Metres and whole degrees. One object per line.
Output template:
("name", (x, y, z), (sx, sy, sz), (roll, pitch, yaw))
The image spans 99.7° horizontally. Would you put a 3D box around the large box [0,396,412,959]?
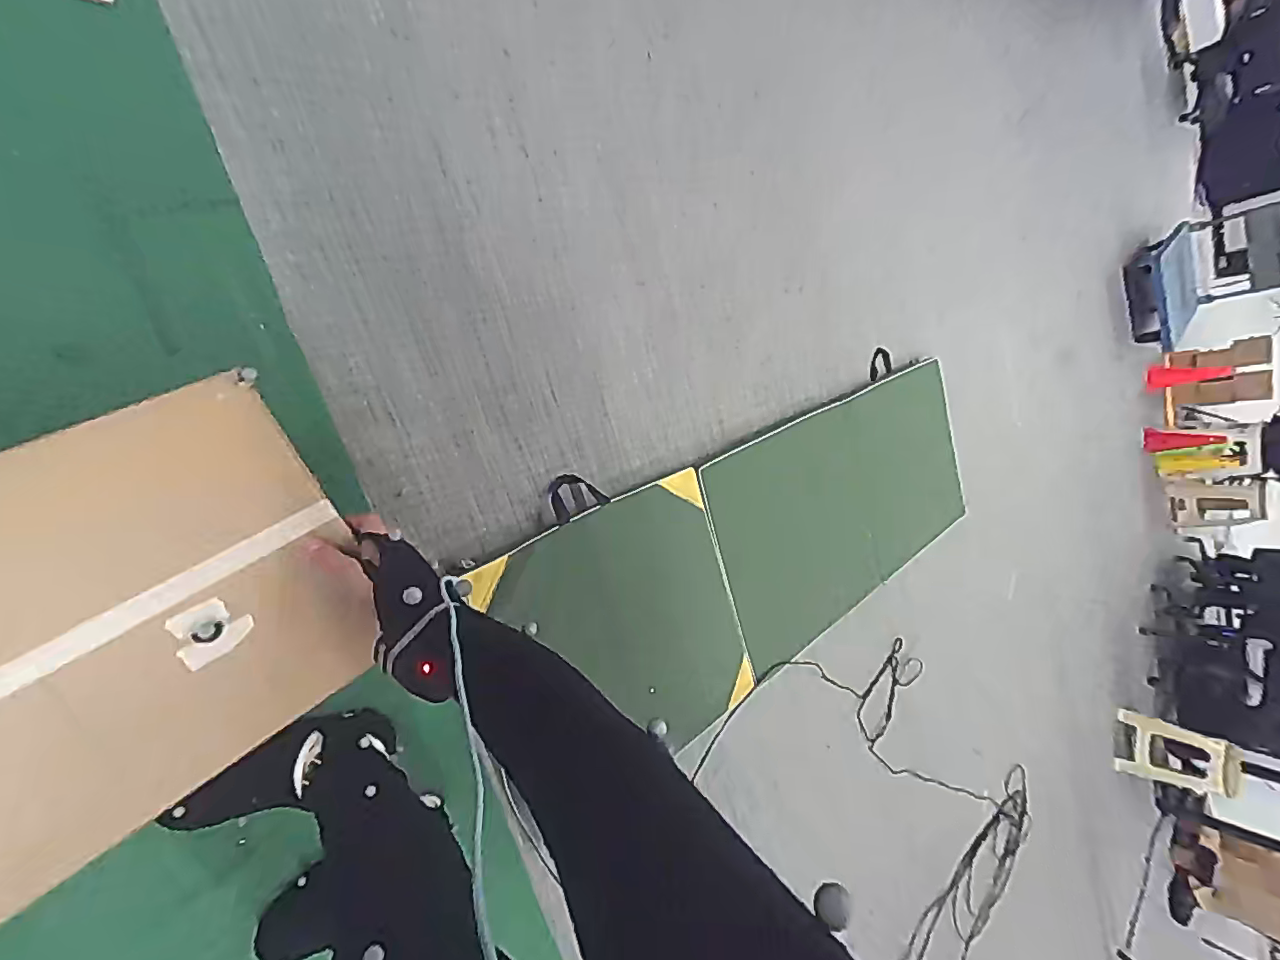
("large box", (-0.527, 0.170, 0.569), (0.408, 0.320, 0.320), (-36, 102, -31))
